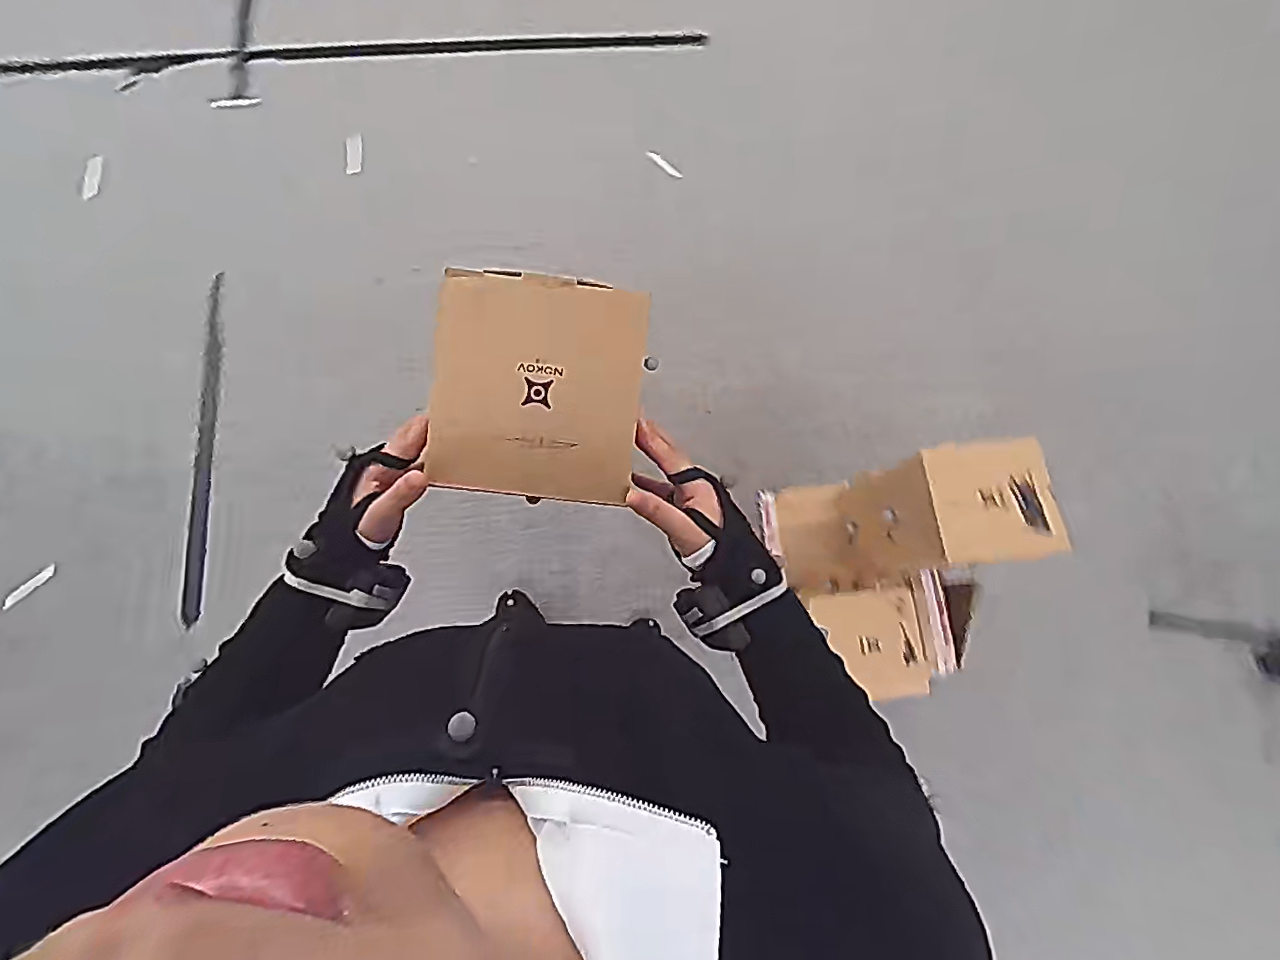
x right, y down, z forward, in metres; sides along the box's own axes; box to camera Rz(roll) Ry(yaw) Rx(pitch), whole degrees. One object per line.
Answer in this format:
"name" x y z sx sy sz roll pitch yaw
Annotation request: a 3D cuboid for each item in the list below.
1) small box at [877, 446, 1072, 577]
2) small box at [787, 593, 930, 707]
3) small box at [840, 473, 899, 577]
"small box" 0.493 0.055 0.824 0.179 0.176 0.168 -5 76 -1
"small box" 0.363 0.287 0.938 0.179 0.176 0.168 -5 78 -1
"small box" 0.494 0.080 0.988 0.179 0.176 0.168 -8 76 -2
